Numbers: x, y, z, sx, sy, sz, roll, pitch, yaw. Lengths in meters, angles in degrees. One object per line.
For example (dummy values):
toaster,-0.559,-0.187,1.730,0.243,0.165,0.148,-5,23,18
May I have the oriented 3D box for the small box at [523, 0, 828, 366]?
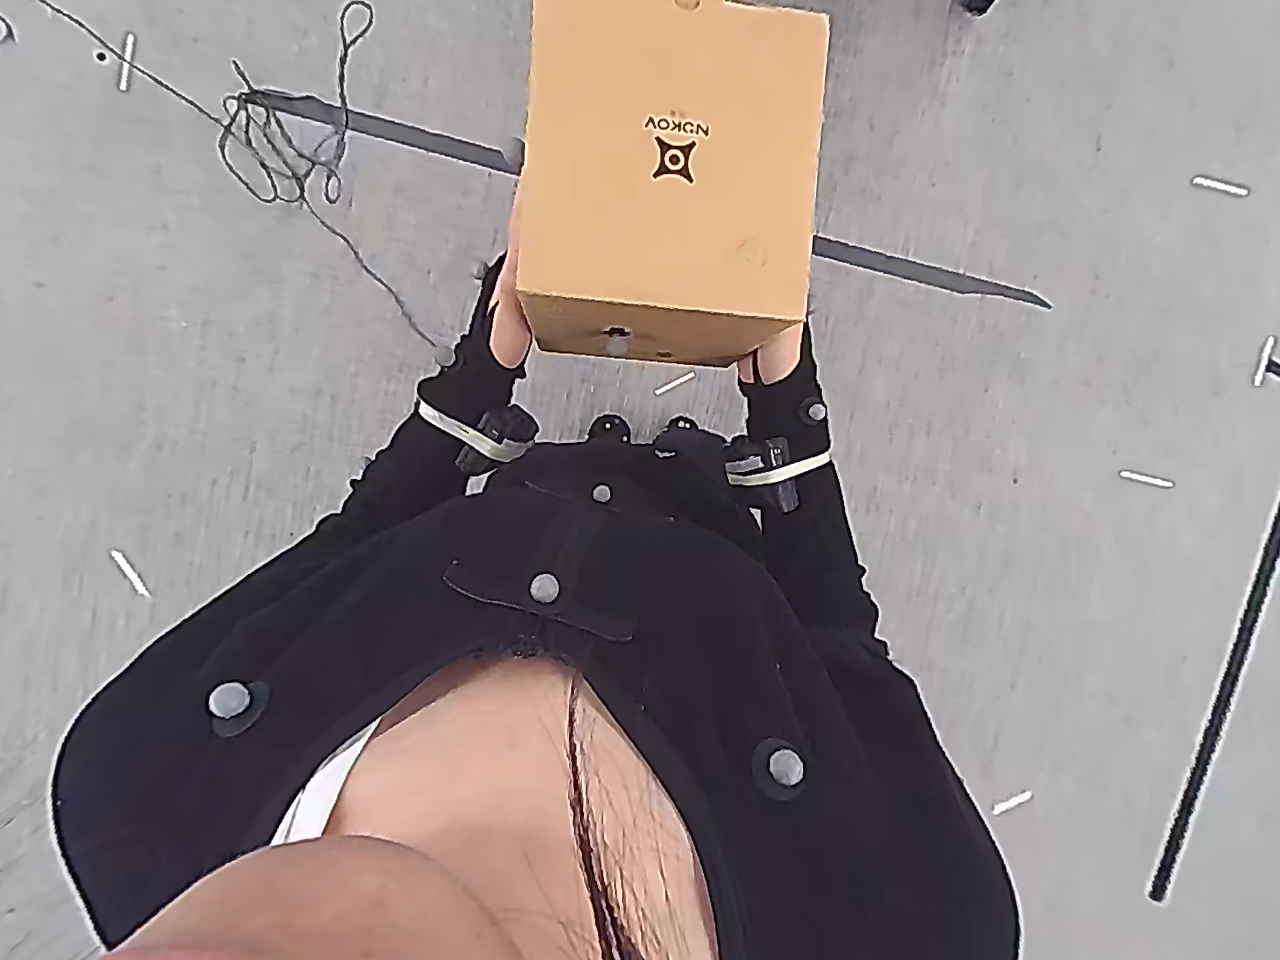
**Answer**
small box,0.014,-0.185,0.386,0.168,0.176,0.179,4,91,-6
